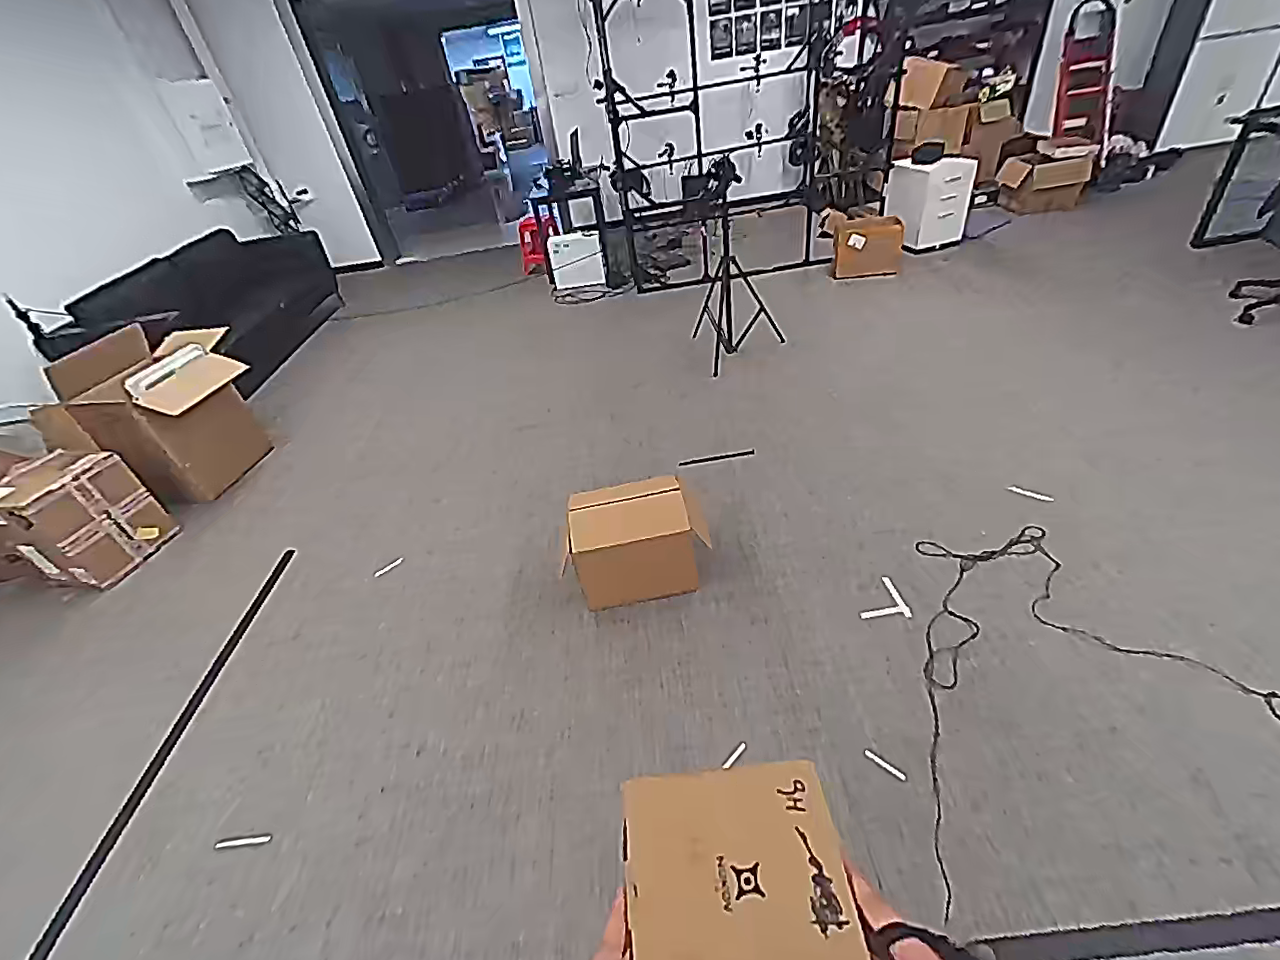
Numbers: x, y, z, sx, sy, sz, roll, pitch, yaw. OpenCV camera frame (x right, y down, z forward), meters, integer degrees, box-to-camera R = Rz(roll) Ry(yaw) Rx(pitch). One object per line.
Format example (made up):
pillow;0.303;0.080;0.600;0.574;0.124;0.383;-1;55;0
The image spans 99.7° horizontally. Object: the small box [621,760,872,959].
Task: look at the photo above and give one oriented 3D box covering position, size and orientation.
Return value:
small box;0.080;0.370;0.476;0.179;0.176;0.168;-5;44;-1
